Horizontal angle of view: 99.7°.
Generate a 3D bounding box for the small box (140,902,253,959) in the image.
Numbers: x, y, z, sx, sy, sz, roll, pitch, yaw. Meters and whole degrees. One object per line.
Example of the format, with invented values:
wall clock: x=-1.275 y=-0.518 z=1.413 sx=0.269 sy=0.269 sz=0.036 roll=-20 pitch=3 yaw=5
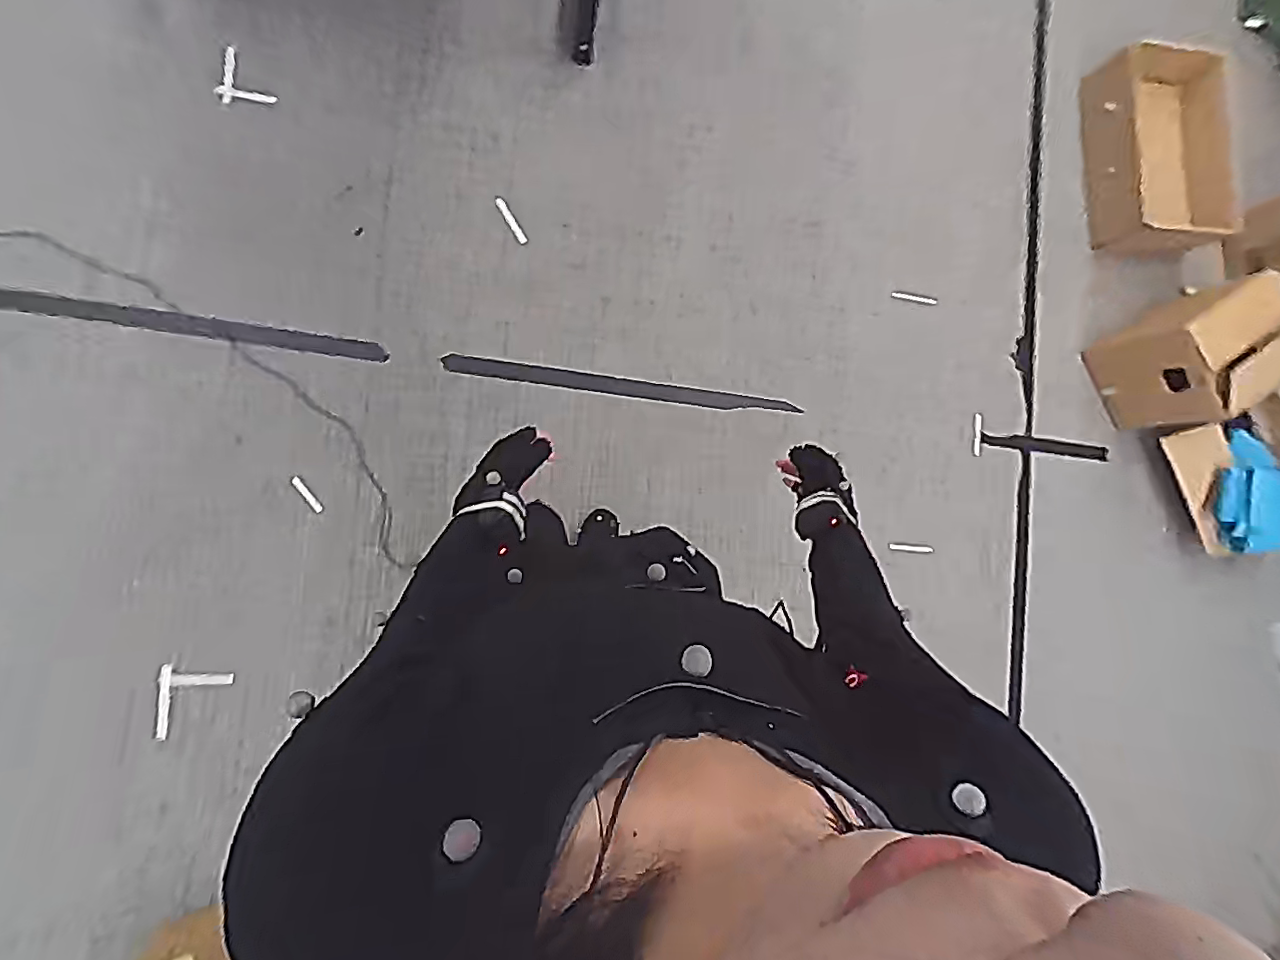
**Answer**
small box: x=-1.016 y=1.112 z=1.218 sx=0.179 sy=0.176 sz=0.168 roll=-20 pitch=92 yaw=-10
